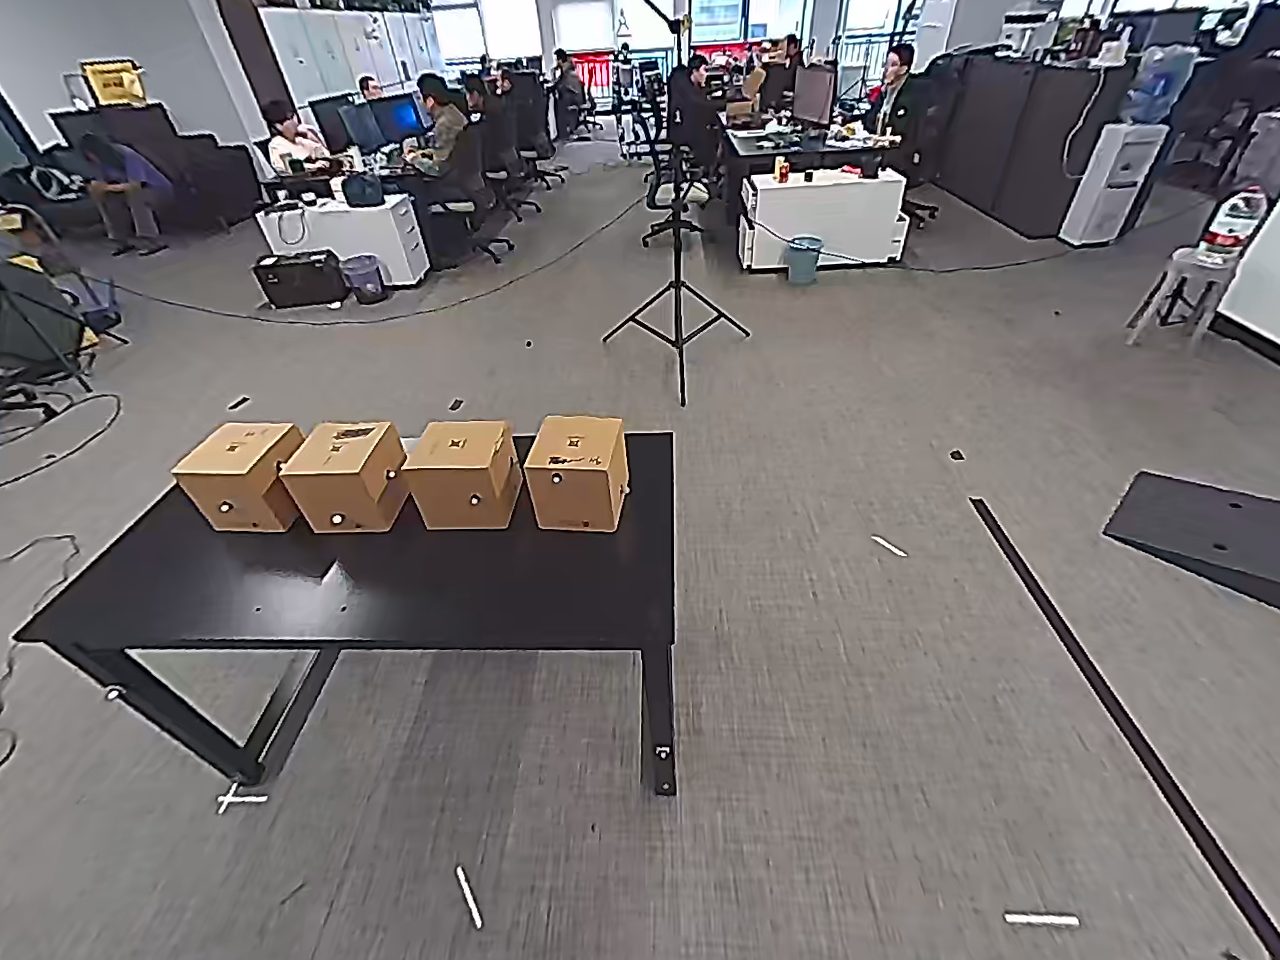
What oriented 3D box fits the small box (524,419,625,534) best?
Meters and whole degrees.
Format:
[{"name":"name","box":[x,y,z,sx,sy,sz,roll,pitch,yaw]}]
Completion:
[{"name":"small box","box":[-0.126,-0.009,1.131,0.168,0.176,0.179,2,39,8]}]

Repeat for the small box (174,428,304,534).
[{"name":"small box","box":[-0.838,0.003,1.182,0.168,0.176,0.179,1,40,5]}]

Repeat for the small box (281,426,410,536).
[{"name":"small box","box":[-0.615,0.001,1.162,0.168,0.176,0.179,-2,41,3]}]

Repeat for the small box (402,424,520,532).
[{"name":"small box","box":[-0.366,-0.003,1.149,0.179,0.176,0.168,-2,39,4]}]
